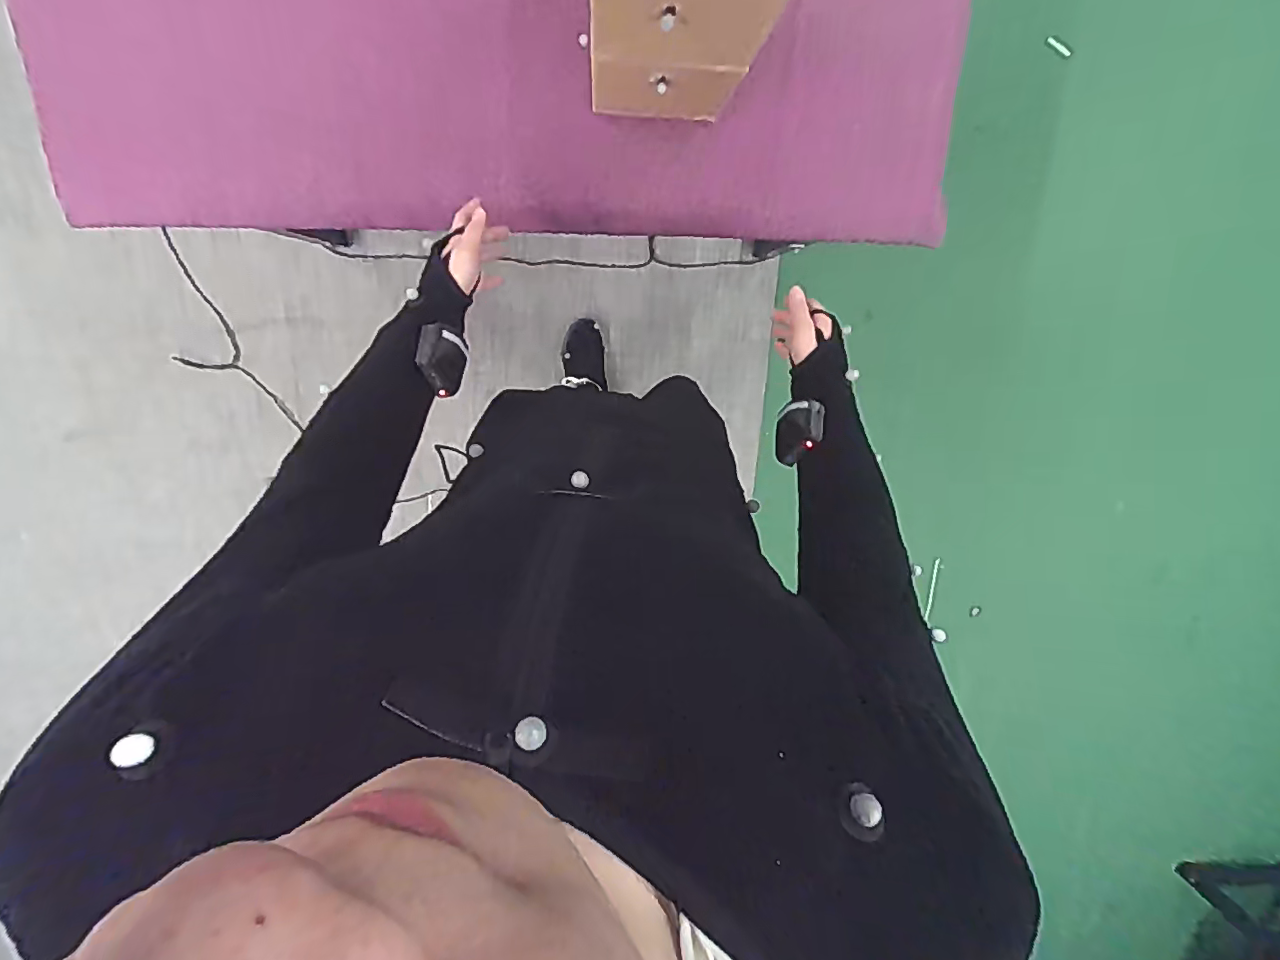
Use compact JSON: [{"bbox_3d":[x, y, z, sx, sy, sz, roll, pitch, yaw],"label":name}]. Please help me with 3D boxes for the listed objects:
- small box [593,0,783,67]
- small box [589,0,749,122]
[{"bbox_3d":[0.045,-0.503,0.485,0.179,0.176,0.168,0,108,-4],"label":"small box"},{"bbox_3d":[0.032,-0.549,0.641,0.179,0.176,0.168,2,107,-5],"label":"small box"}]
